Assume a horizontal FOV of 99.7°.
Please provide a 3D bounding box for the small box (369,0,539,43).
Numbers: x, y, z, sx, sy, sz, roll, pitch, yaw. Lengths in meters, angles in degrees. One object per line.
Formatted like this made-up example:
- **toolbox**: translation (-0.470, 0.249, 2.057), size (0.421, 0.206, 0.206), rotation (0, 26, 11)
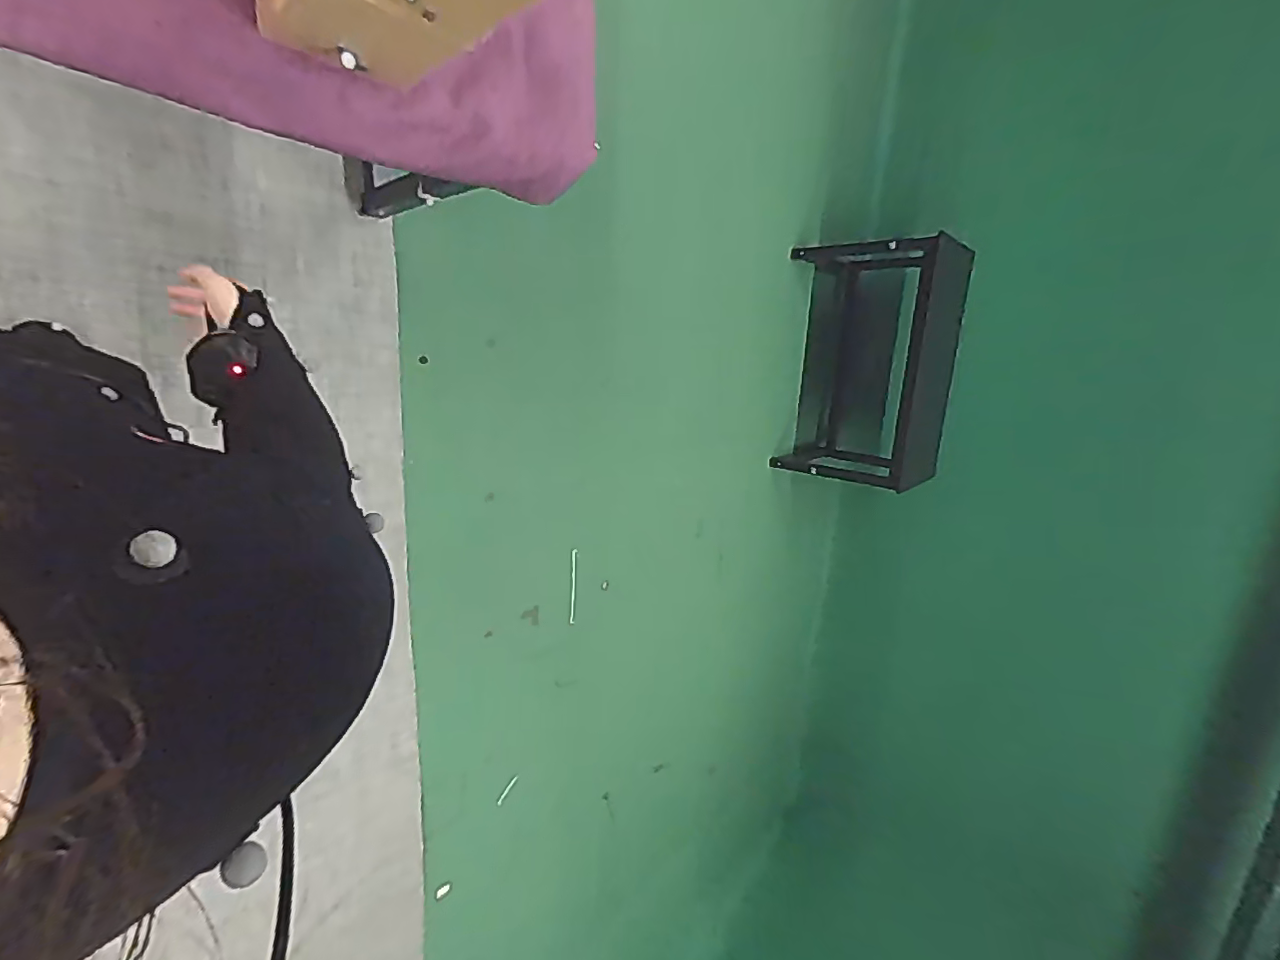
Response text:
- **small box**: translation (-0.190, -0.550, 0.485), size (0.168, 0.176, 0.179), rotation (-12, 109, -47)

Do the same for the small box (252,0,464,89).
- **small box**: translation (-0.311, -0.575, 0.590), size (0.168, 0.176, 0.179), rotation (-11, 109, -47)
